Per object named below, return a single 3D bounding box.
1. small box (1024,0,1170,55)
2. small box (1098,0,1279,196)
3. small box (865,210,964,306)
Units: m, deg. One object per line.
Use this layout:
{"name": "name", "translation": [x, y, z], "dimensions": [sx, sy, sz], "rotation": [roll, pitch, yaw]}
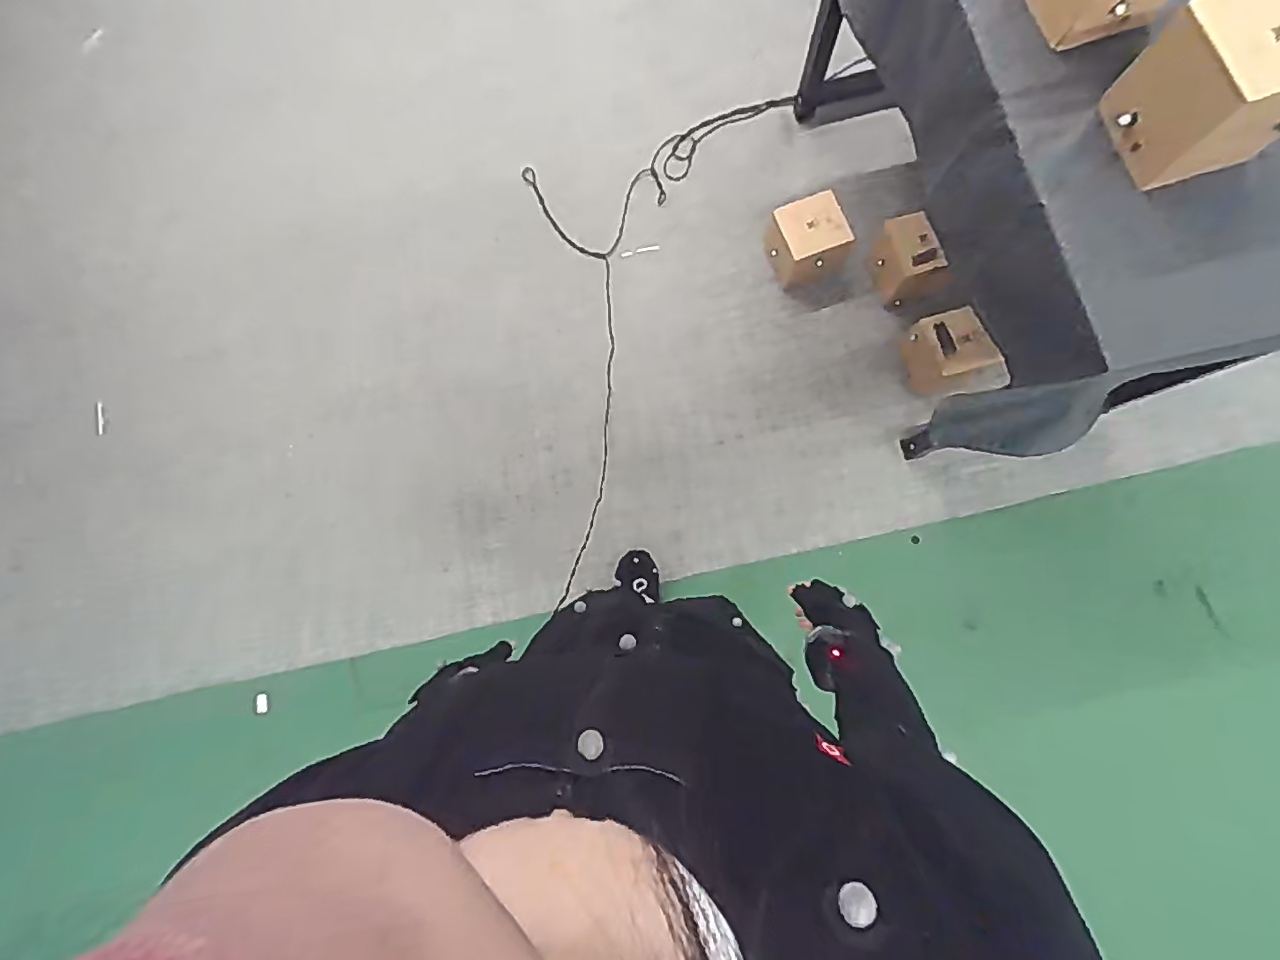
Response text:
{"name": "small box", "translation": [0.721, -0.805, 0.818], "dimensions": [0.168, 0.176, 0.179], "rotation": [-18, 80, 0]}
{"name": "small box", "translation": [0.824, -0.547, 0.769], "dimensions": [0.179, 0.176, 0.168], "rotation": [-16, 79, 1]}
{"name": "small box", "translation": [0.763, -0.611, 1.519], "dimensions": [0.168, 0.176, 0.179], "rotation": [-15, 79, 1]}
